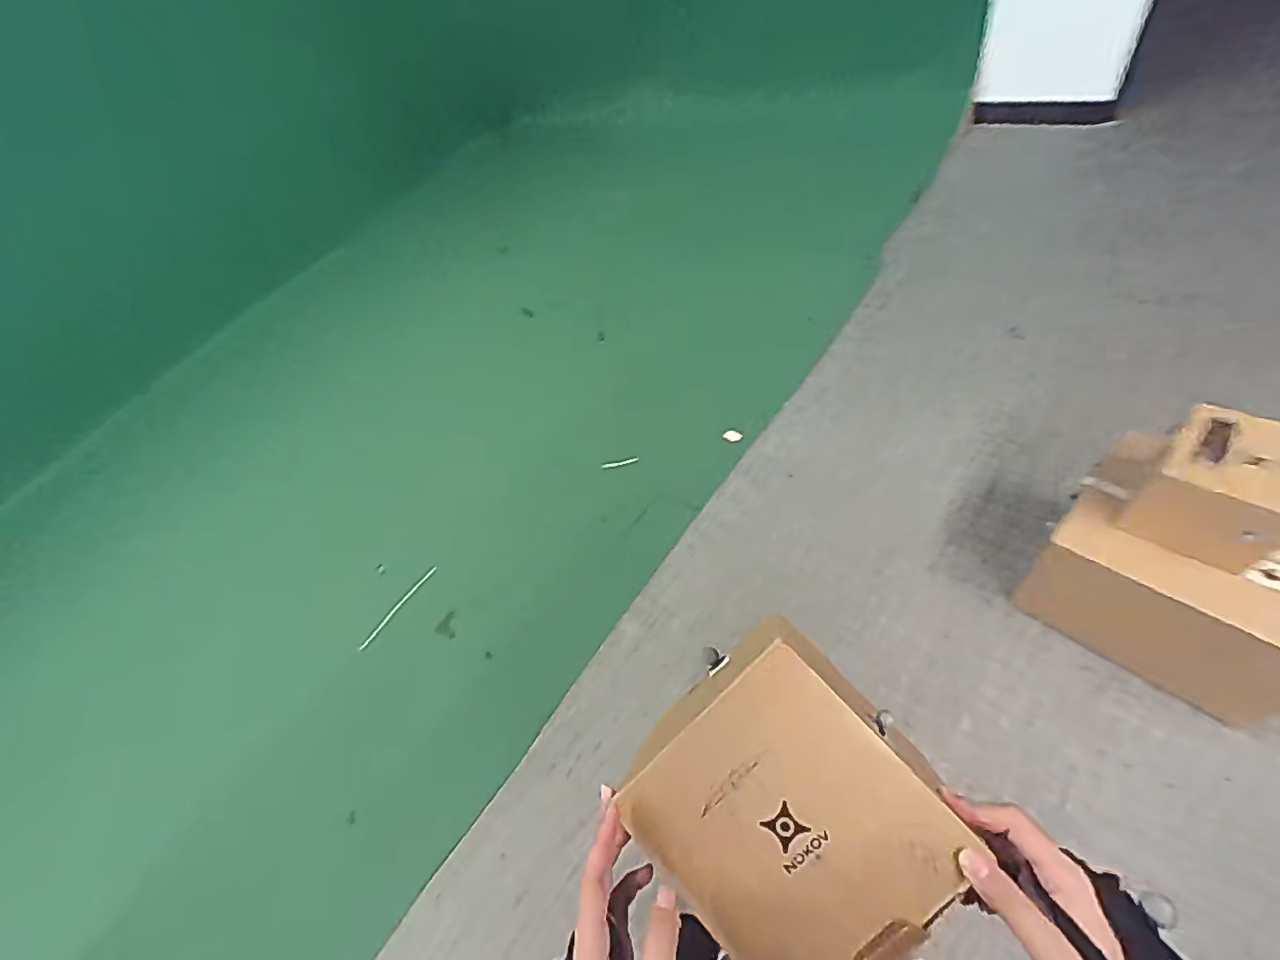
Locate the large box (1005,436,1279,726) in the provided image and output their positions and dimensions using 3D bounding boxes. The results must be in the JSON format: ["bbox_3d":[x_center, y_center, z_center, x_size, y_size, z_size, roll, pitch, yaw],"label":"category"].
[{"bbox_3d":[1.016,0.187,1.034,0.408,0.320,0.320,33,72,33],"label":"large box"}]
